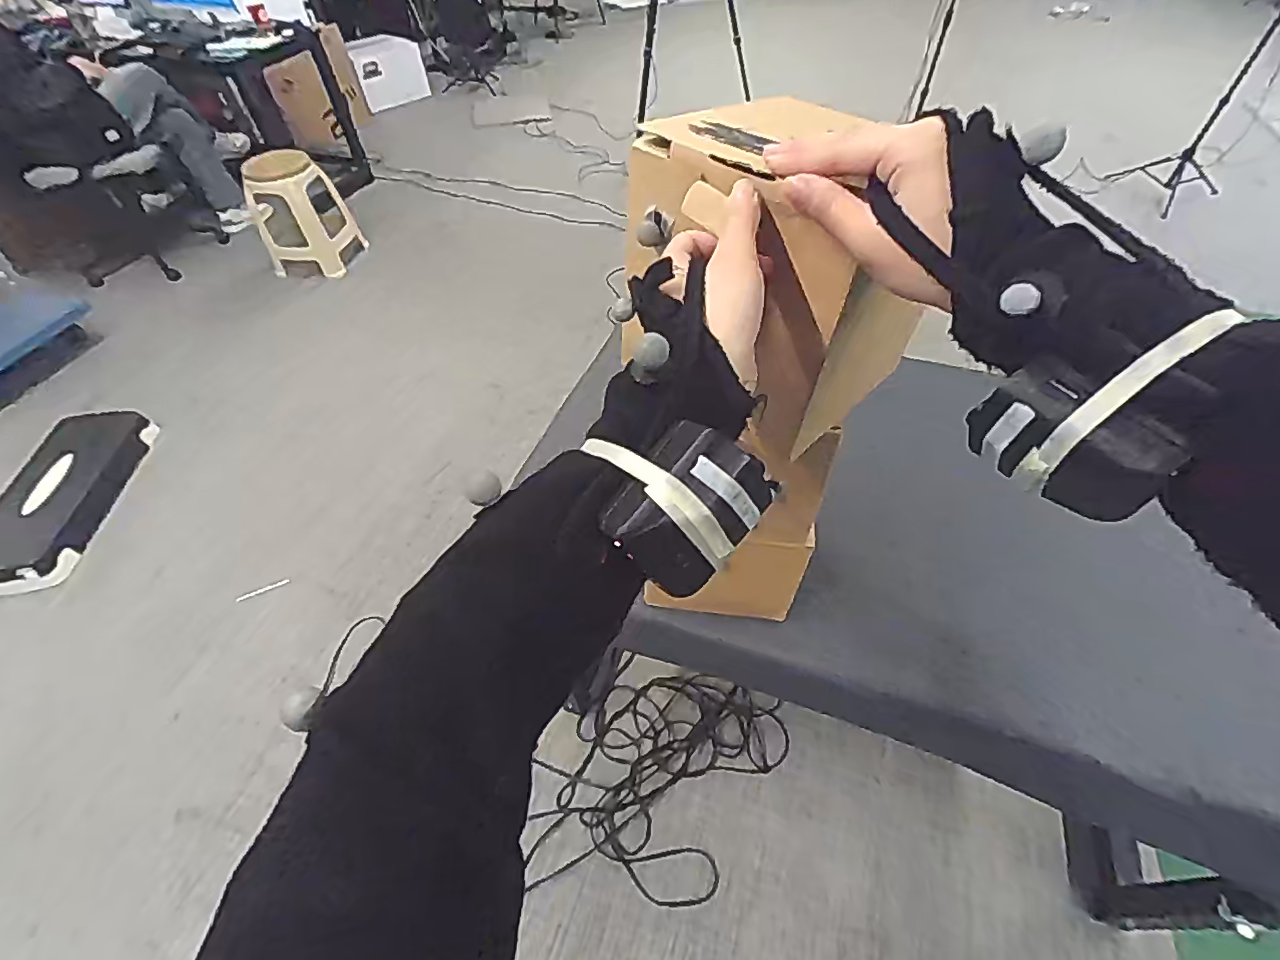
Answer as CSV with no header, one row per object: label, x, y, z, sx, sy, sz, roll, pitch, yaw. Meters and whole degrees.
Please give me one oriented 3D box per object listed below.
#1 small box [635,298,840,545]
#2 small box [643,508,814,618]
small box,0.095,-0.057,0.541,0.168,0.176,0.179,8,49,8
small box,0.104,0.053,0.661,0.179,0.176,0.168,6,50,7
